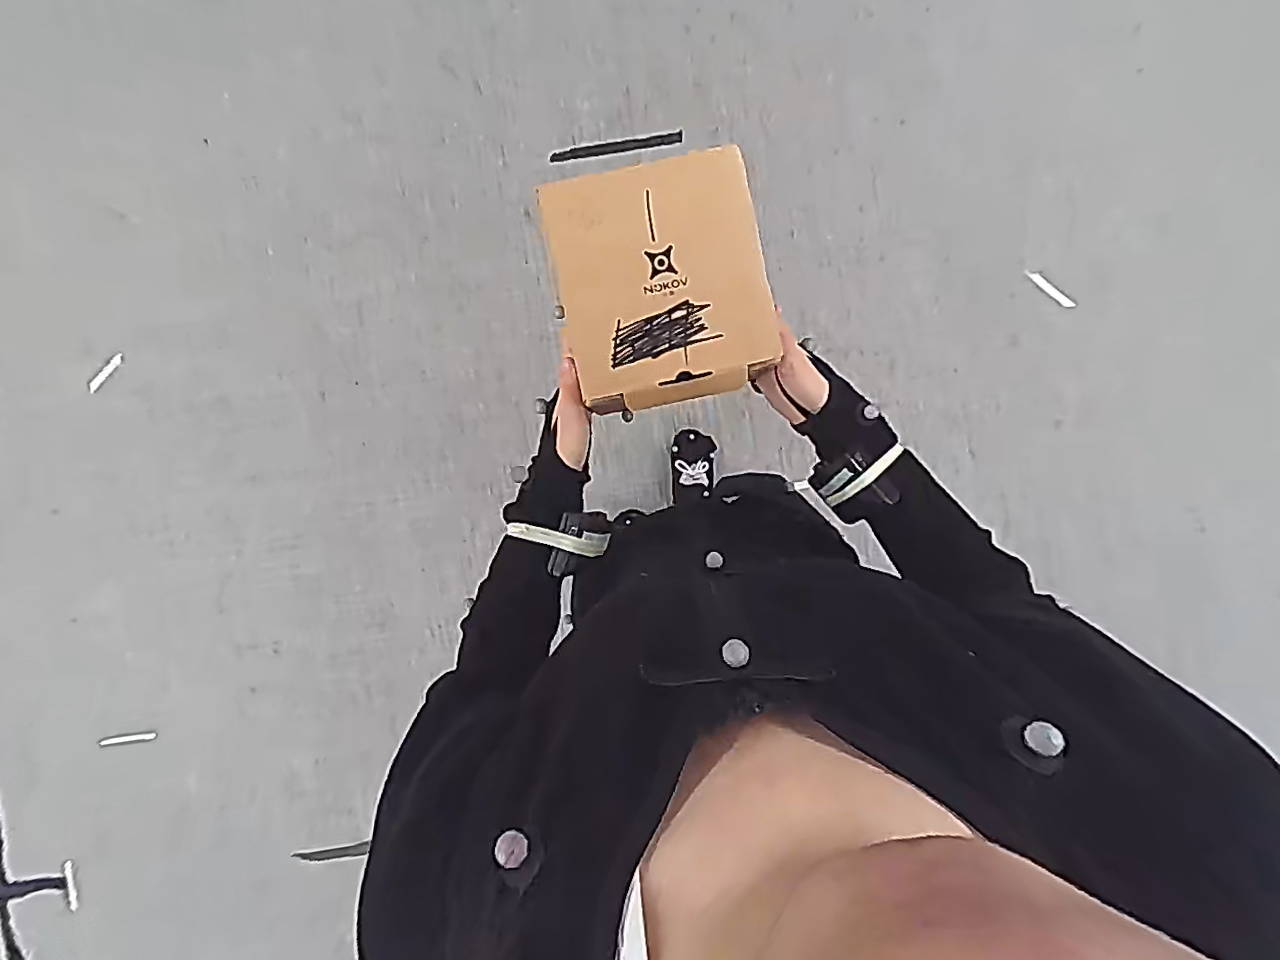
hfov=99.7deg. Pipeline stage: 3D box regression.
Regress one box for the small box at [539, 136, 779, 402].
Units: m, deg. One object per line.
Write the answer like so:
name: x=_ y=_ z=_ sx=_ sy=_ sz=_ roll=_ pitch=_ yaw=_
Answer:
small box: x=0.017 y=-0.174 z=0.508 sx=0.168 sy=0.176 sz=0.179 roll=-12 pitch=93 yaw=0
